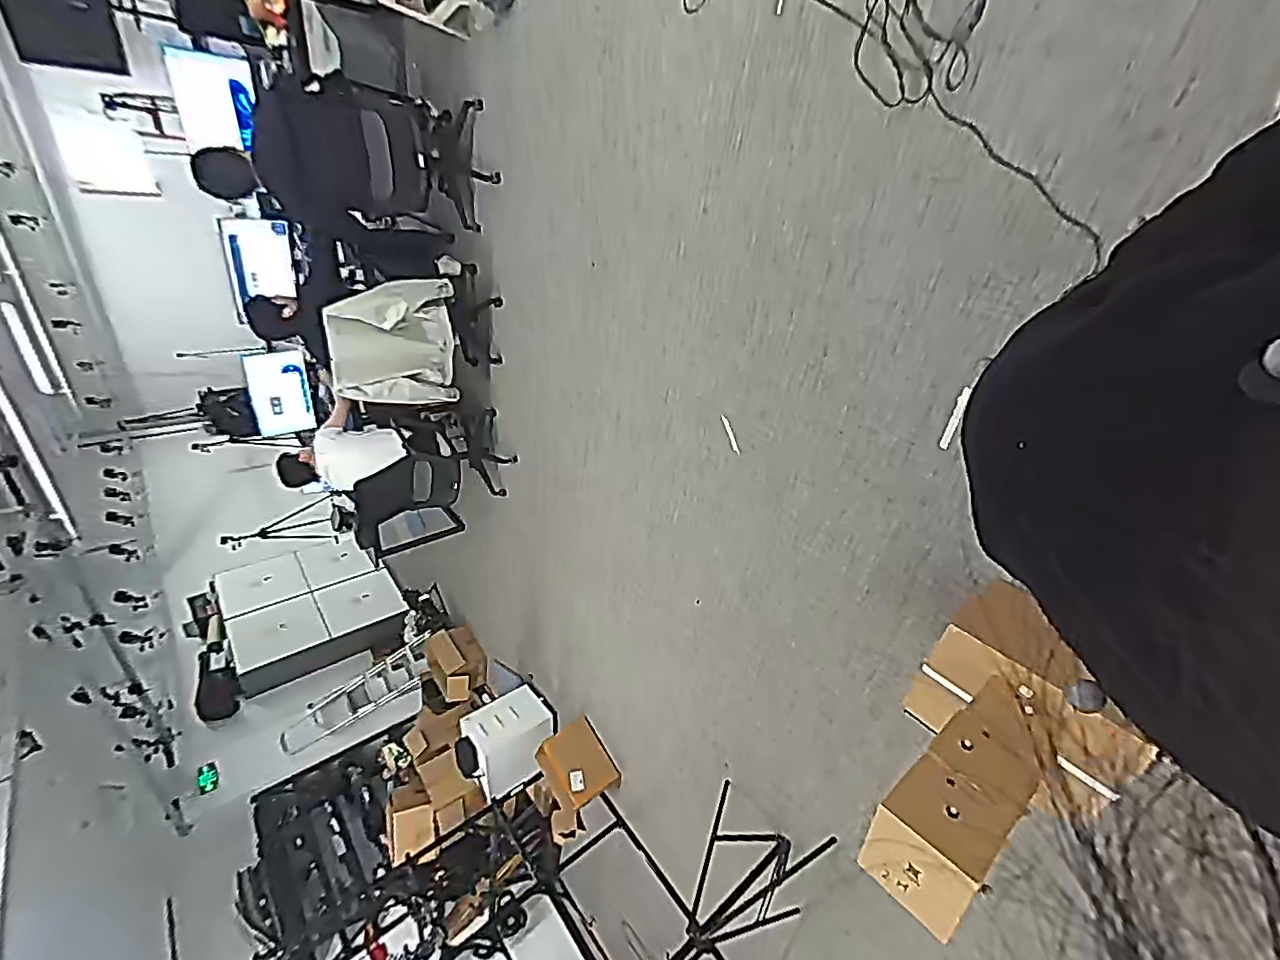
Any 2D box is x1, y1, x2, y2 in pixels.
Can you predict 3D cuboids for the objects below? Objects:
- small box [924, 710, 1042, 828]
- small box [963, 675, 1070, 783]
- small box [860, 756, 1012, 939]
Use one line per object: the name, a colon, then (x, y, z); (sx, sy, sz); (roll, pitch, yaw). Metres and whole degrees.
small box: (0.652, 0.595, 1.065); (0.168, 0.176, 0.179); (34, 130, 40)
small box: (0.778, 0.561, 1.162); (0.168, 0.176, 0.179); (35, 129, 39)
small box: (0.529, 0.640, 0.965); (0.168, 0.176, 0.179); (31, 127, 43)
